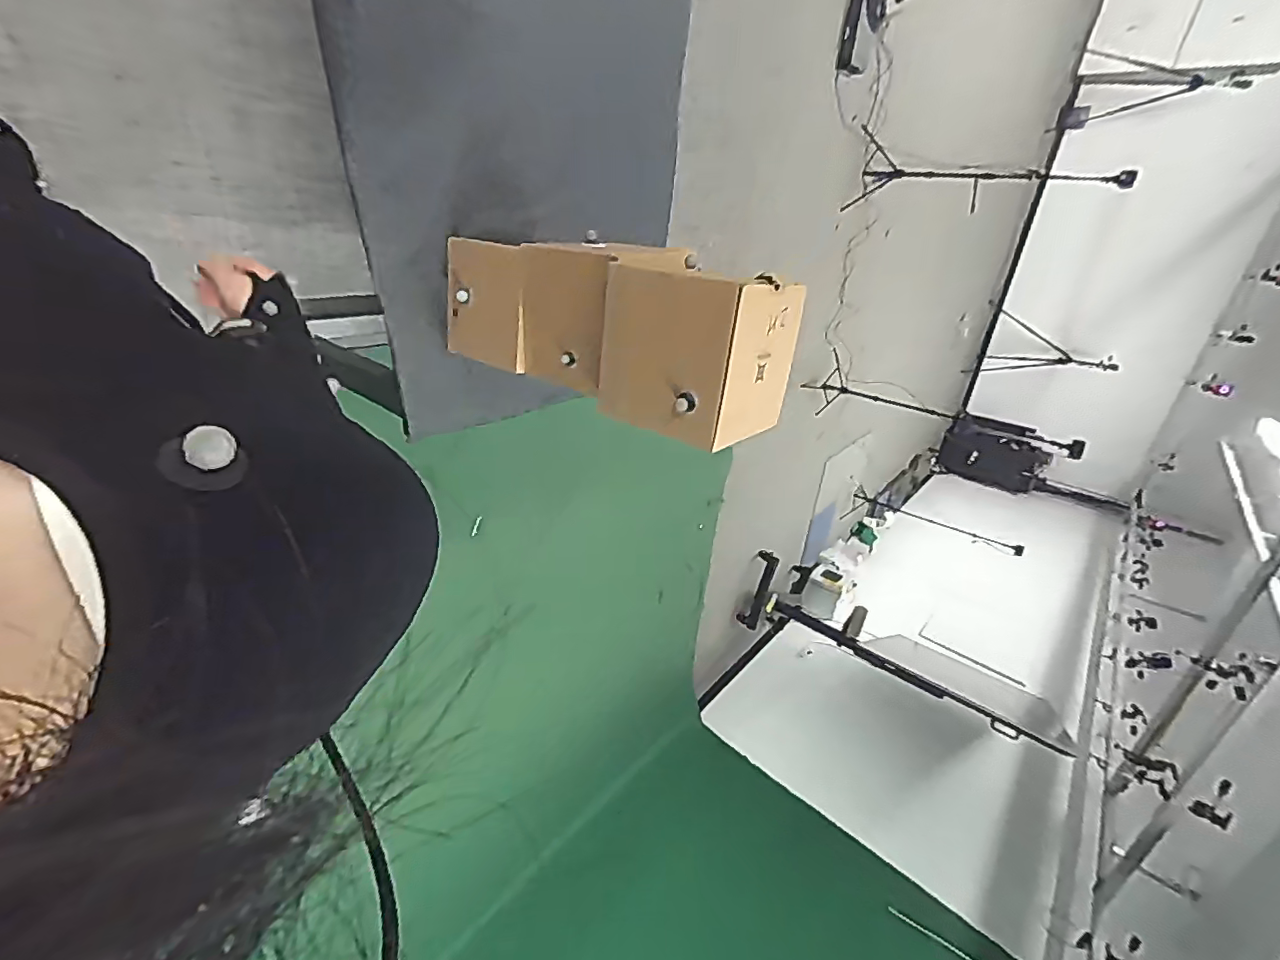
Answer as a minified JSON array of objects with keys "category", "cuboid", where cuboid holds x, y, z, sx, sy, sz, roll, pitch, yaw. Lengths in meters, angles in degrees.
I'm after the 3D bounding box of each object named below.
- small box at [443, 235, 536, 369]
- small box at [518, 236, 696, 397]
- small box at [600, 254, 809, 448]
[{"category":"small box","cuboid":[-0.172,-0.269,0.819,0.179,0.176,0.168,-18,123,-49]},{"category":"small box","cuboid":[-0.045,-0.227,0.726,0.168,0.176,0.179,-29,130,-46]},{"category":"small box","cuboid":[0.069,-0.156,0.628,0.168,0.176,0.179,-23,127,-49]}]
